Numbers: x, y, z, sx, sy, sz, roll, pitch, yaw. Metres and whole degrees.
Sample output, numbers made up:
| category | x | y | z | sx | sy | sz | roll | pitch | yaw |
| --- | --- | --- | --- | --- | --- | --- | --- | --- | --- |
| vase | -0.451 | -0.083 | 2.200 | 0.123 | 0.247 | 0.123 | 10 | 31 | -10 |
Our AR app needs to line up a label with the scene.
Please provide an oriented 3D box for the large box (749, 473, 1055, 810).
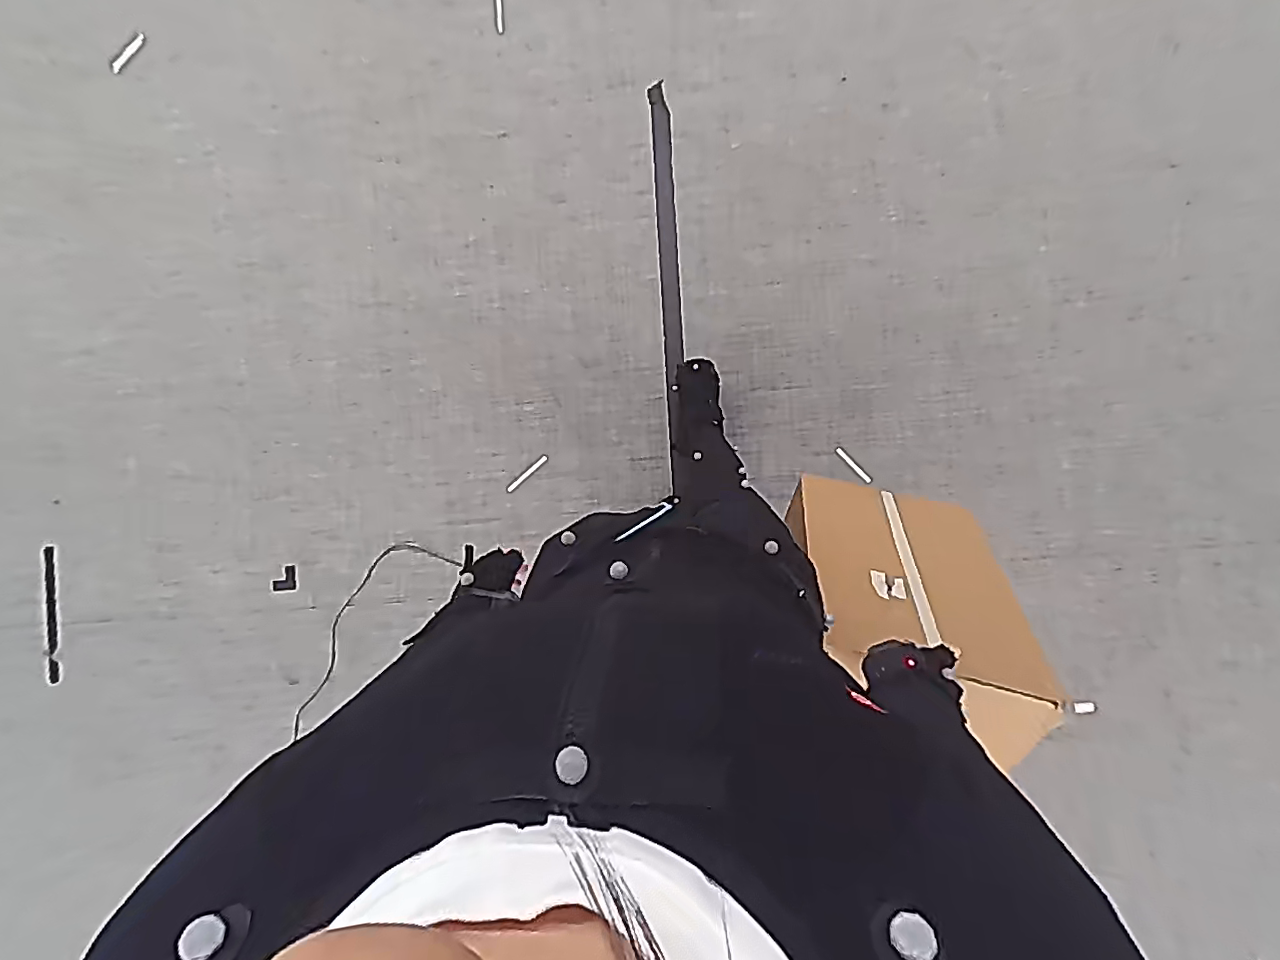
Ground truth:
| category | x | y | z | sx | sy | sz | roll | pitch | yaw |
| --- | --- | --- | --- | --- | --- | --- | --- | --- | --- |
| large box | 0.378 | 0.249 | 0.917 | 0.320 | 0.408 | 0.320 | 13 | 126 | 6 |
